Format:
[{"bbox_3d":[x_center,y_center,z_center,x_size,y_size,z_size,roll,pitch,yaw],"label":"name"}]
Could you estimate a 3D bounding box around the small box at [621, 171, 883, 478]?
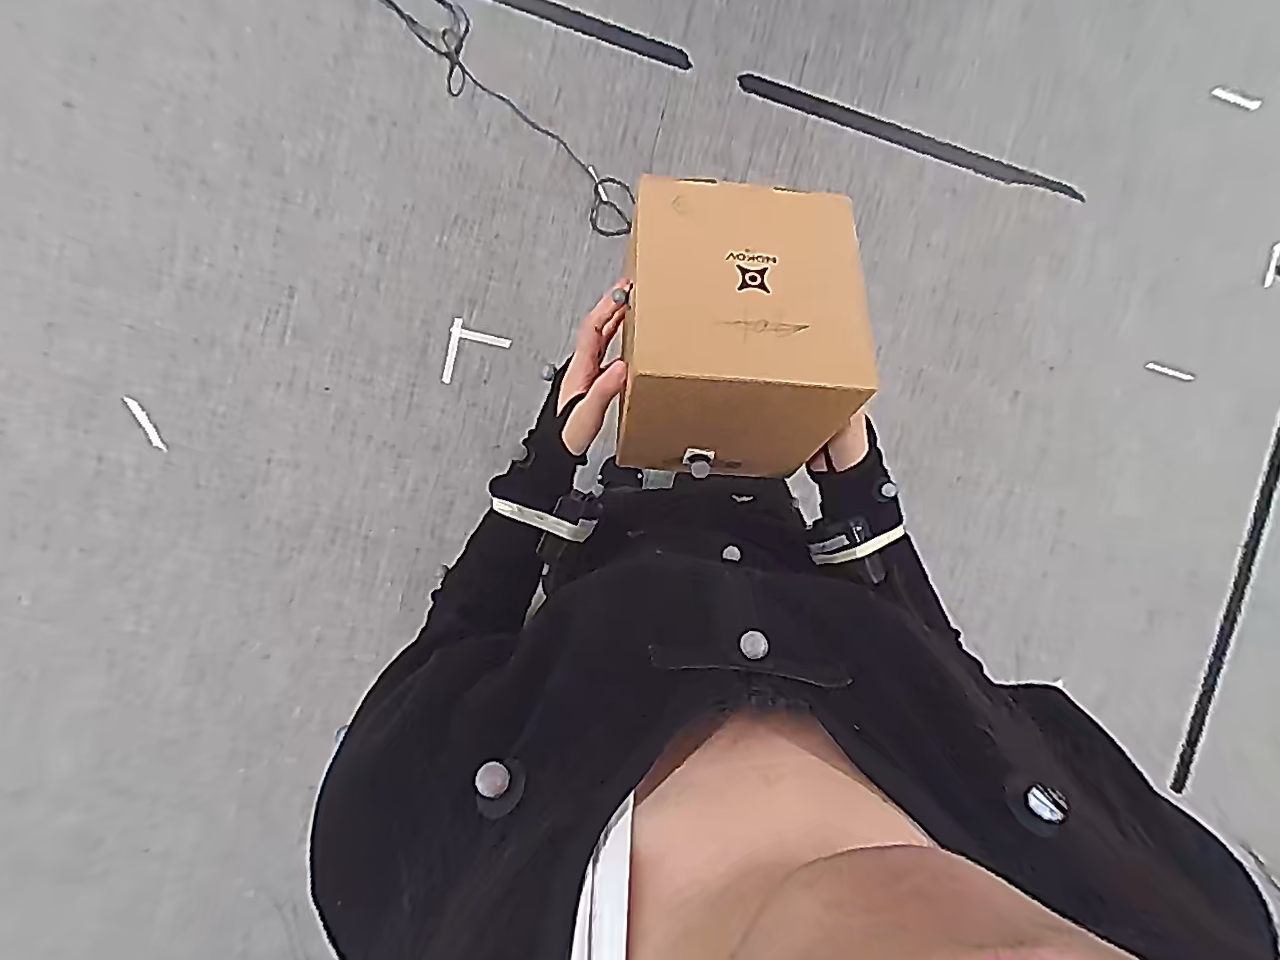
[{"bbox_3d":[0.072,-0.116,0.452,0.168,0.176,0.179,3,69,-5],"label":"small box"}]
